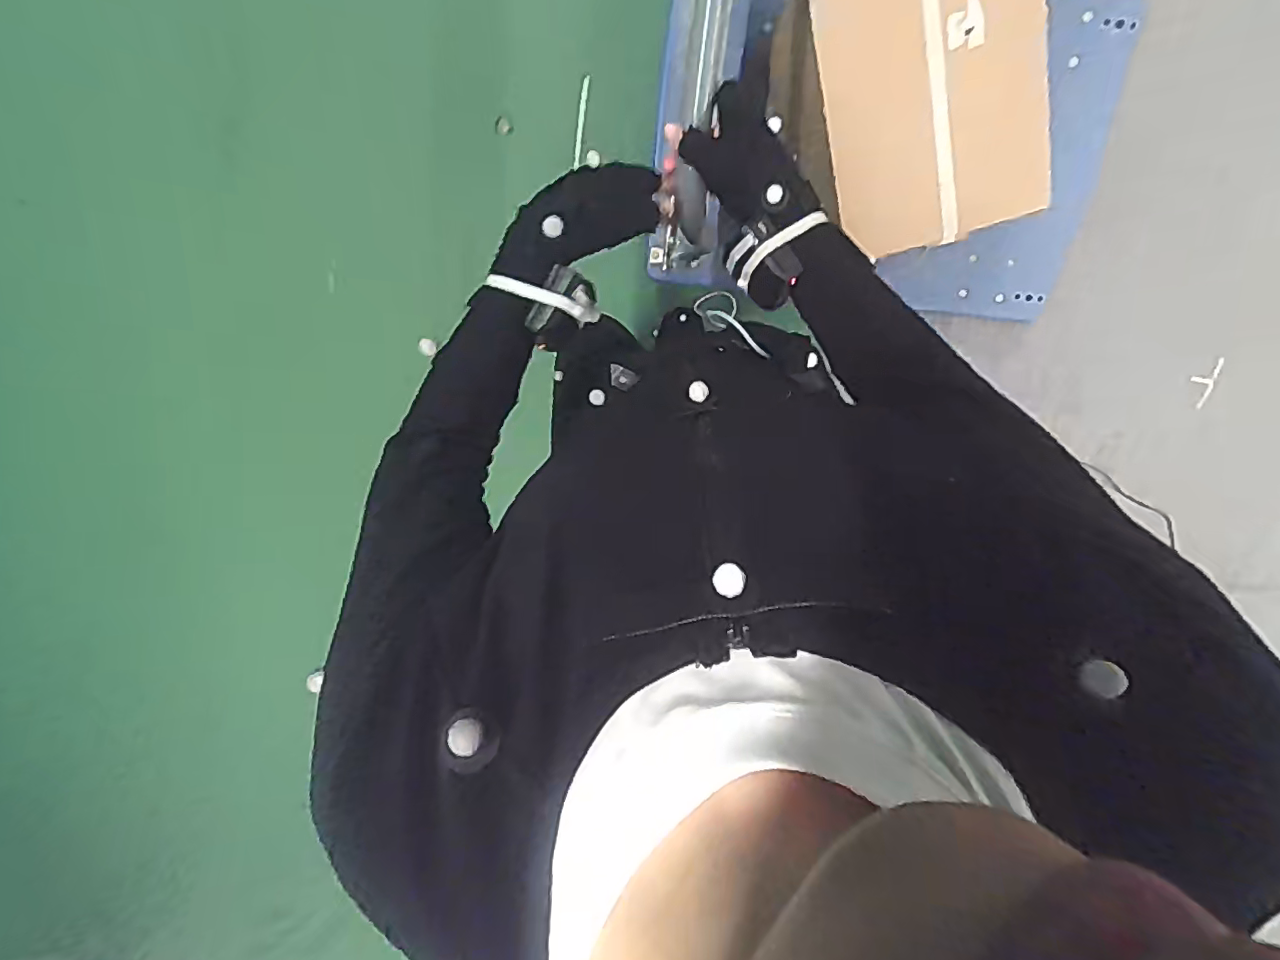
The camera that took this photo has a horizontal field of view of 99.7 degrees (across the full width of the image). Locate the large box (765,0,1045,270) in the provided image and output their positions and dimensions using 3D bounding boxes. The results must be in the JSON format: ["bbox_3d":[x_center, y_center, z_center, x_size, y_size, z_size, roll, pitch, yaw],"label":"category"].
[{"bbox_3d":[0.428,-0.618,0.934,0.320,0.320,0.408,-15,107,7],"label":"large box"}]
